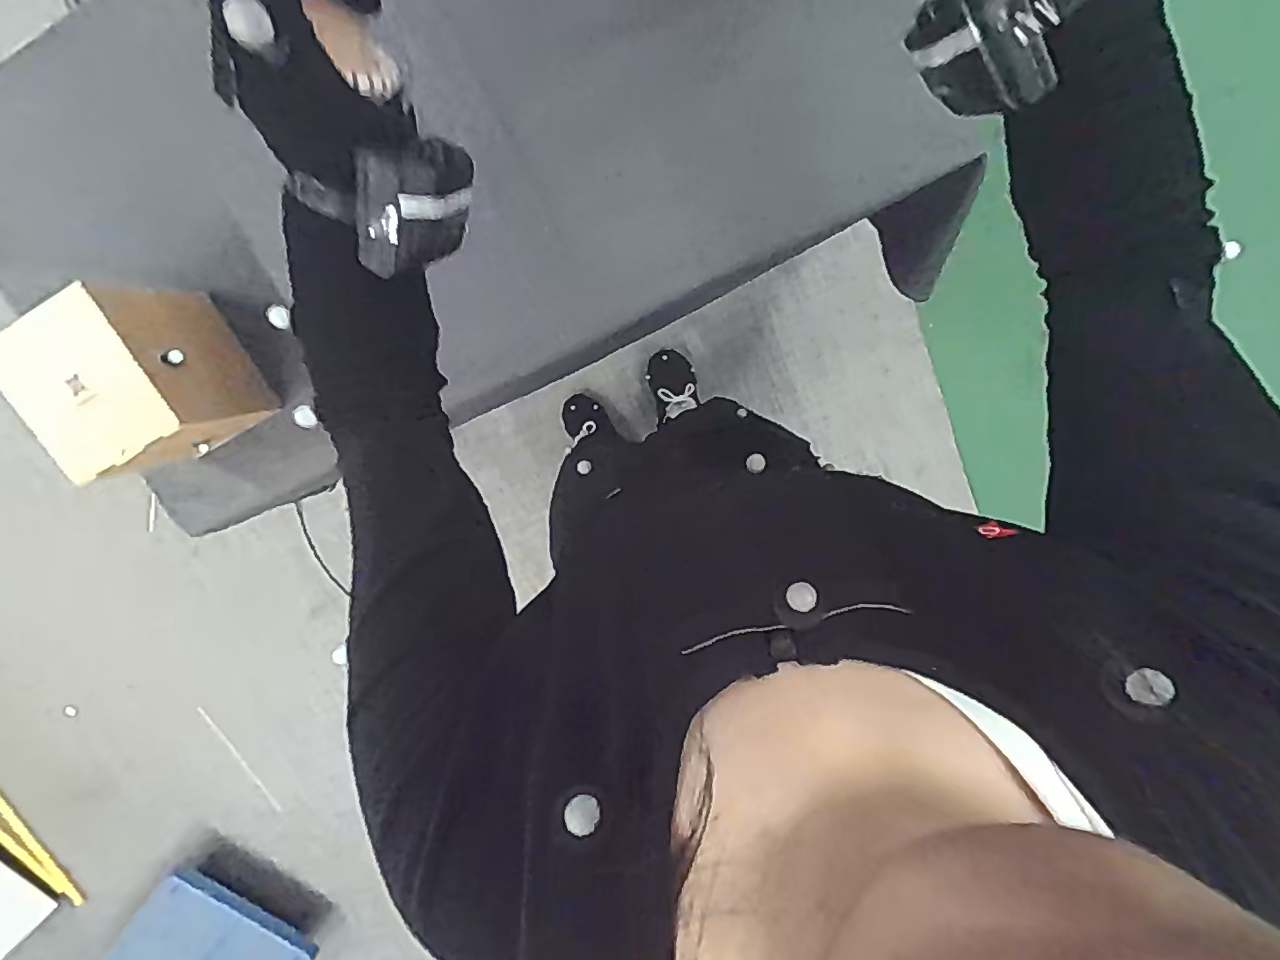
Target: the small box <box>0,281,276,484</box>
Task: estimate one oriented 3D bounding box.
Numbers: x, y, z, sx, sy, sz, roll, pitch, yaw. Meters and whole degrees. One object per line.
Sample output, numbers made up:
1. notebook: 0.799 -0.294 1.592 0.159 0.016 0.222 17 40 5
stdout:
1. small box: -0.616 -0.122 0.672 0.168 0.176 0.179 -26 103 9
